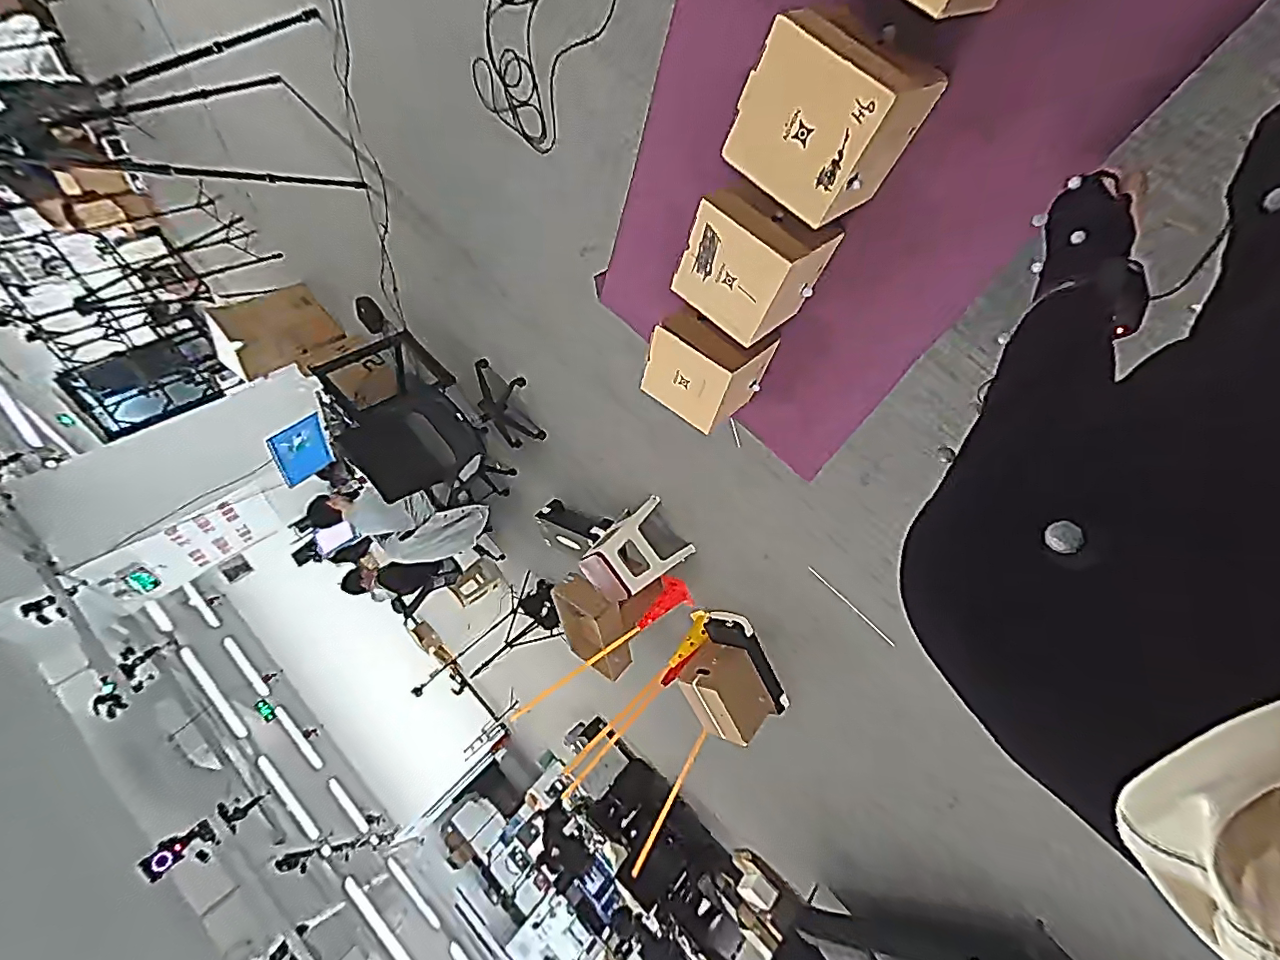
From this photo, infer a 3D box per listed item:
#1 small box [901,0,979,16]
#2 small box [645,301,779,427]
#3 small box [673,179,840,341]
[{"bbox_3d":[0.304,-0.599,0.529,0.179,0.176,0.168,44,148,11],"label":"small box"},{"bbox_3d":[0.141,-0.246,1.080,0.179,0.176,0.168,41,147,17],"label":"small box"},{"bbox_3d":[0.190,-0.370,0.896,0.179,0.176,0.168,43,147,12],"label":"small box"}]
